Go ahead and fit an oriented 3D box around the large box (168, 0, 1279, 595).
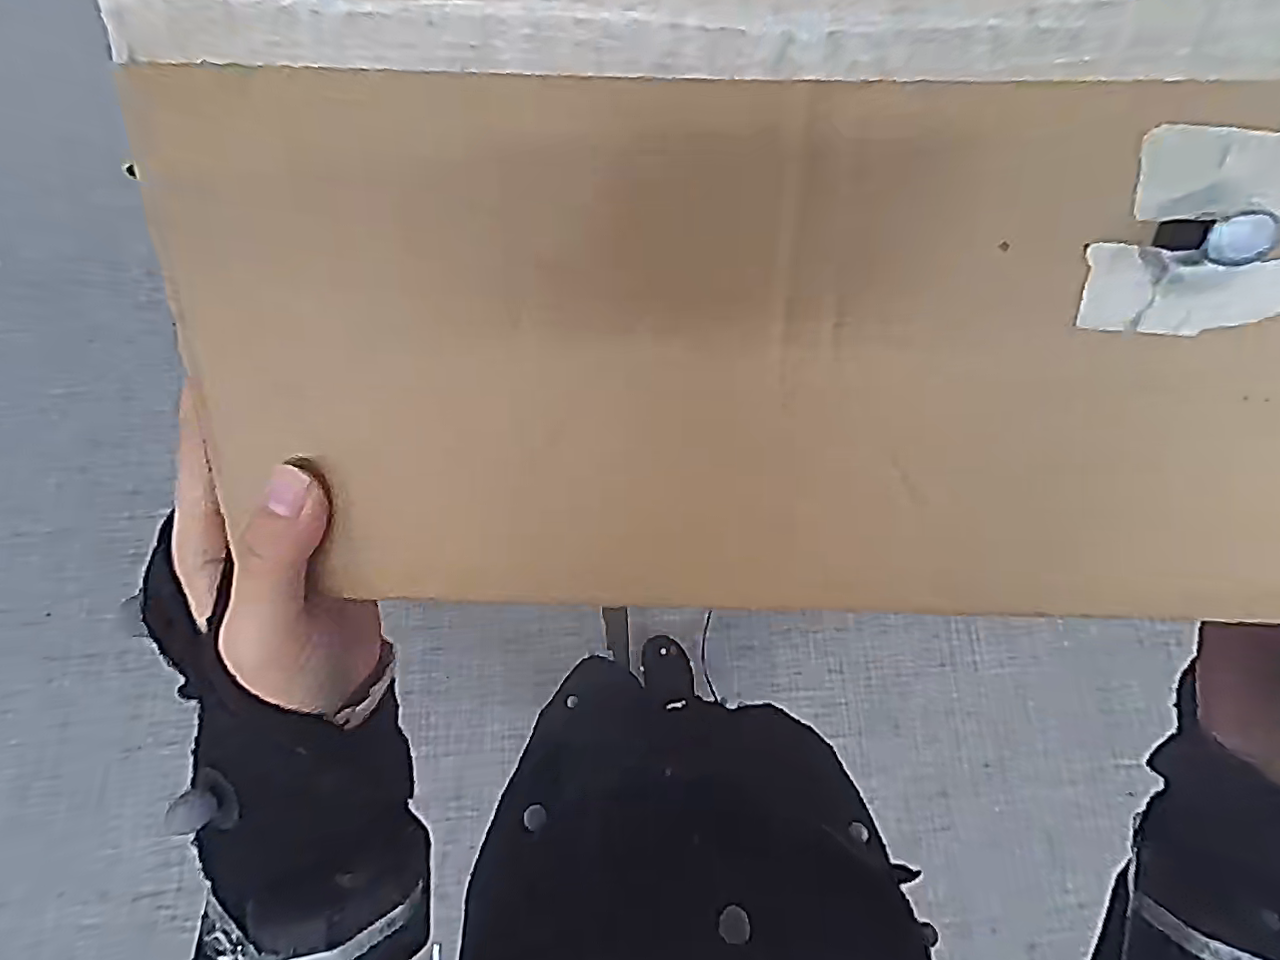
[{"bbox_3d":[0.074,-0.150,0.286,0.408,0.320,0.320,1,107,0],"label":"large box"}]
